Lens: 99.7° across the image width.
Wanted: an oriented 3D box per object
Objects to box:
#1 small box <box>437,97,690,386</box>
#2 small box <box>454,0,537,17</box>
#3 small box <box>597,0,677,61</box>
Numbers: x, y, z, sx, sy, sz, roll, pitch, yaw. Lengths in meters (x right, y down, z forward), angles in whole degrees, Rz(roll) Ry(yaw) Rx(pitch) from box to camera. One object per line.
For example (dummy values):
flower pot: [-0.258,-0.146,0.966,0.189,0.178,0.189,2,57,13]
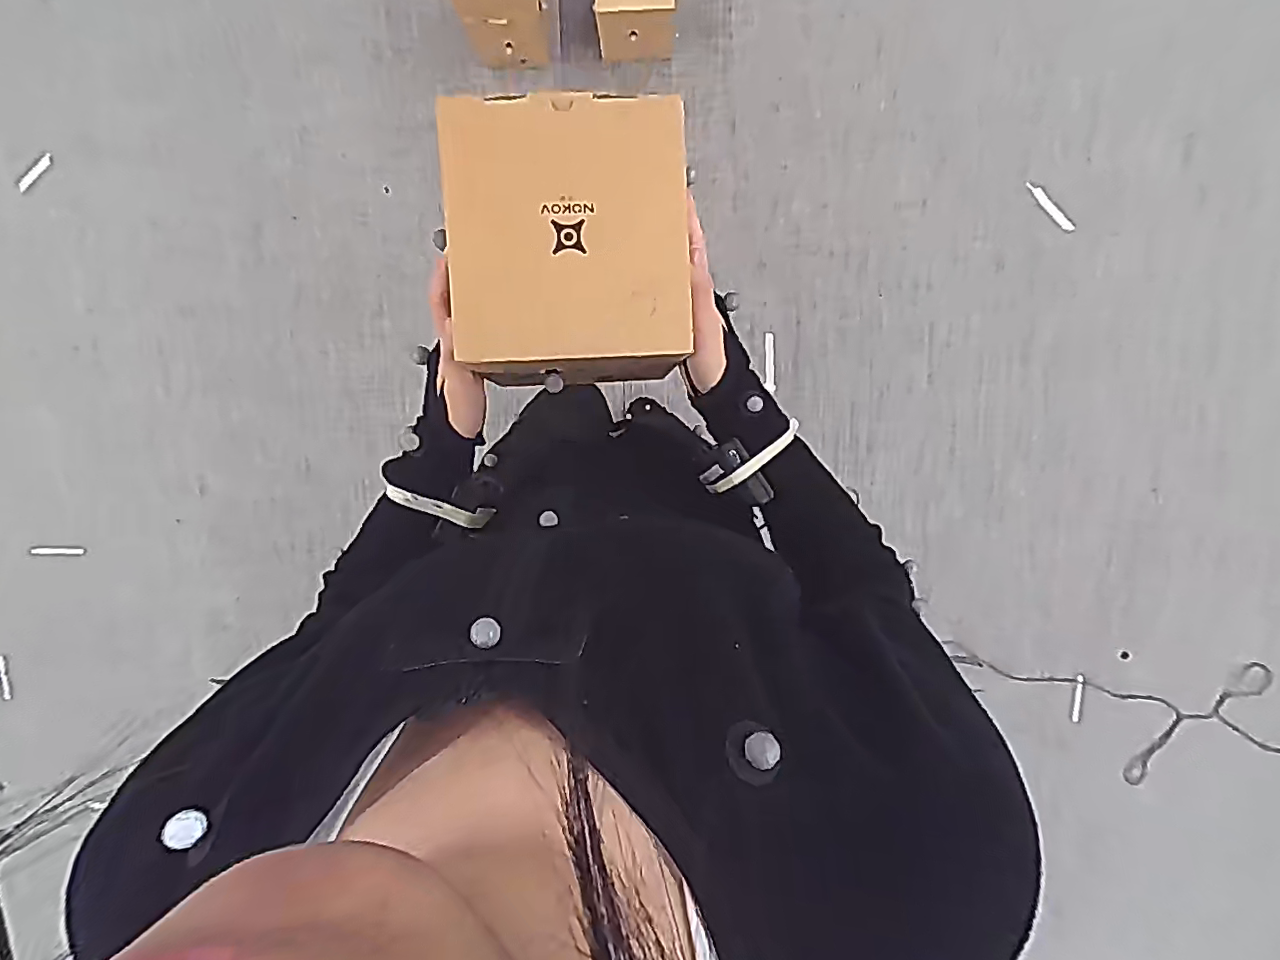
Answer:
small box: [-0.054,-0.173,0.448,0.168,0.176,0.179,-4,93,-4]
small box: [-0.304,-1.078,1.085,0.179,0.176,0.168,0,97,2]
small box: [-0.005,-1.101,1.240,0.179,0.176,0.168,0,98,3]
